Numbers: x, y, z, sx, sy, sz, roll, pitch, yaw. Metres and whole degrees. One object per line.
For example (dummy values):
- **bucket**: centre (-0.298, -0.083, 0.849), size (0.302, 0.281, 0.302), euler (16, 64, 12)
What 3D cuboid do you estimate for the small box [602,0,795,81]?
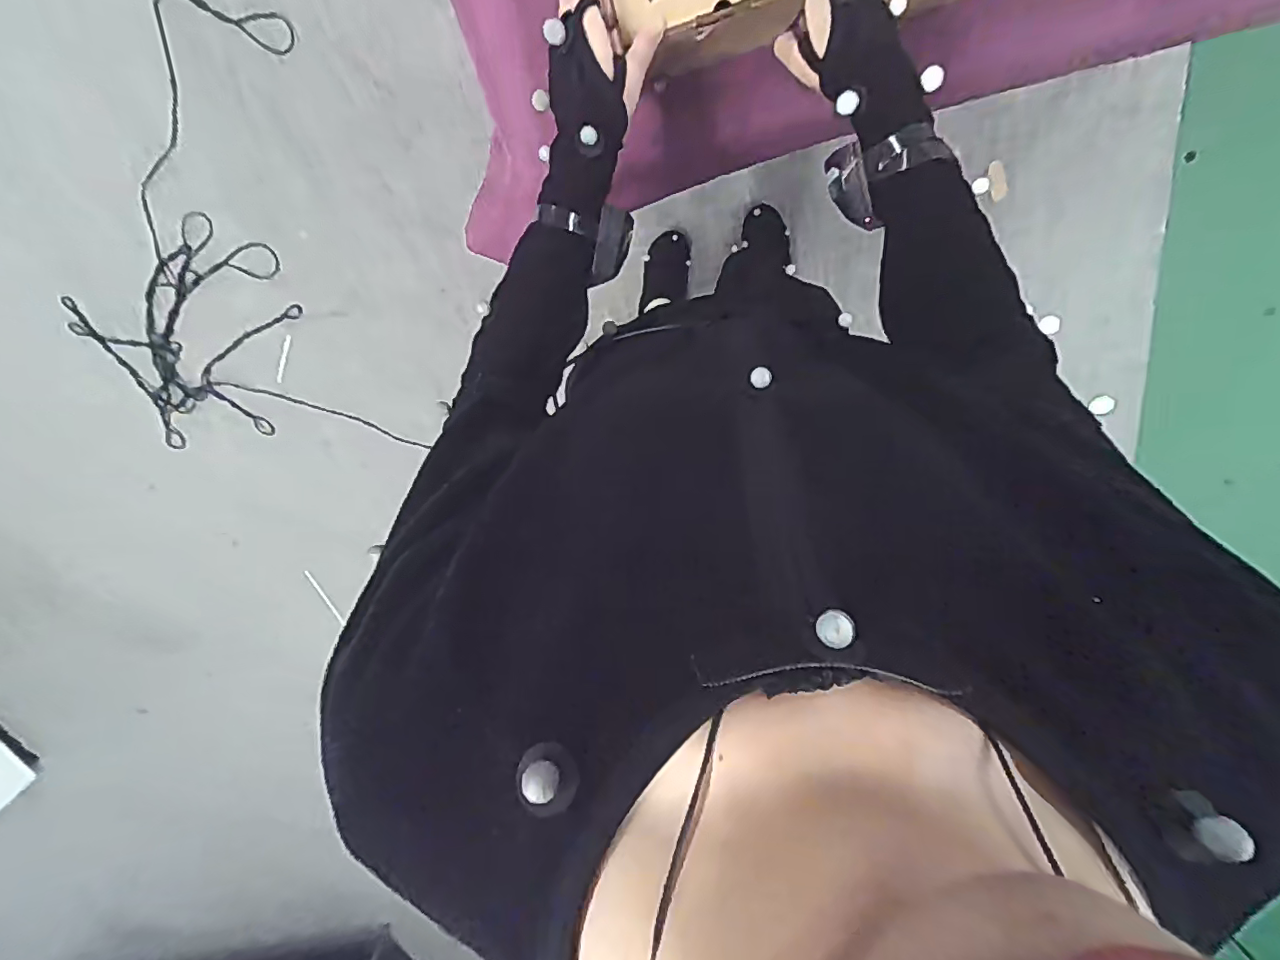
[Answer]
- **small box**: centre (0.040, -0.472, 0.459), size (0.168, 0.176, 0.179), euler (-14, 114, 8)
